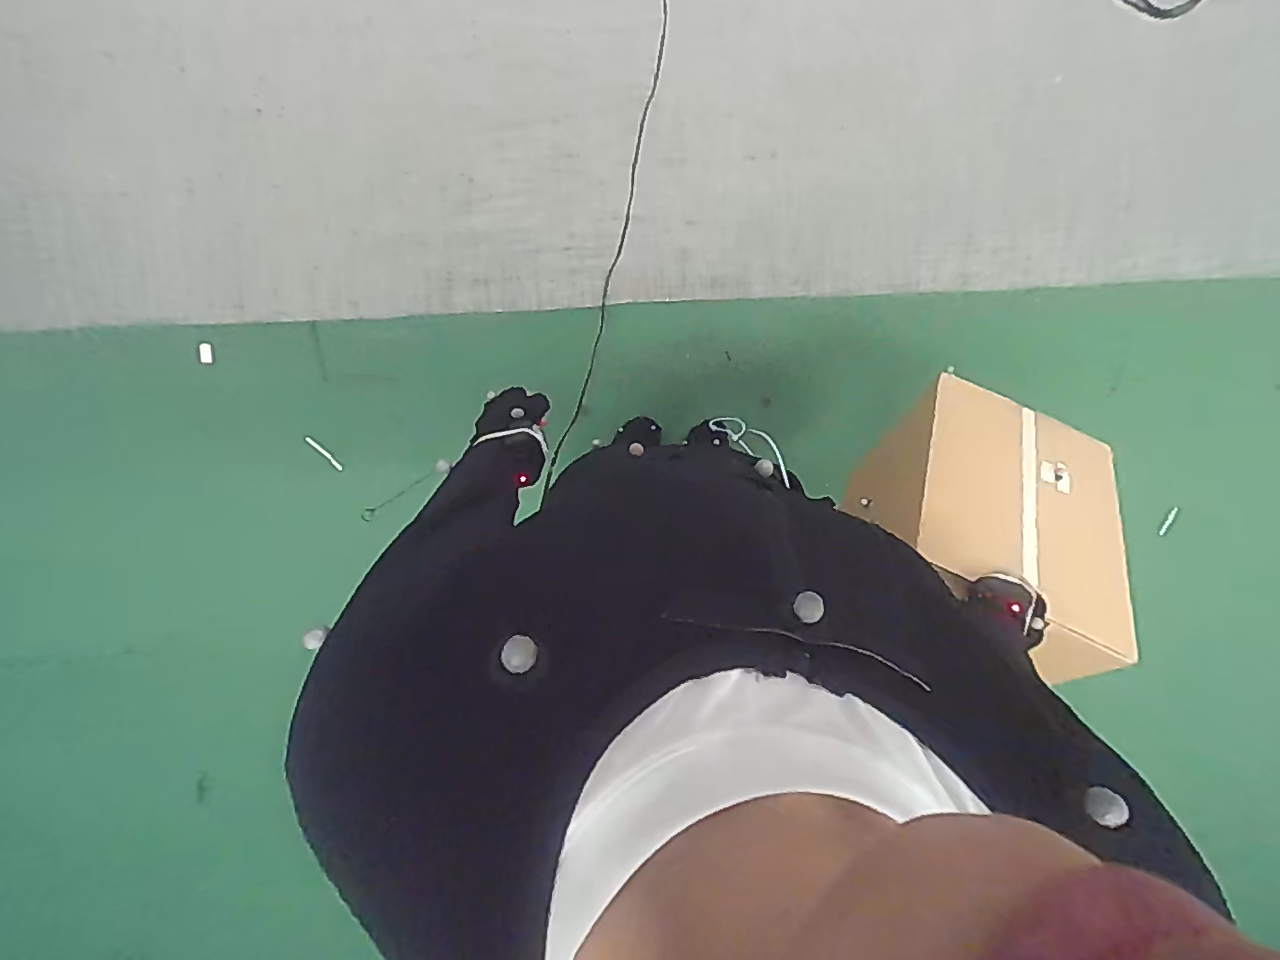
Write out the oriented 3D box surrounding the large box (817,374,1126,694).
[{"bbox_3d":[0.550,0.099,0.958,0.320,0.320,0.408,26,55,3],"label":"large box"}]
